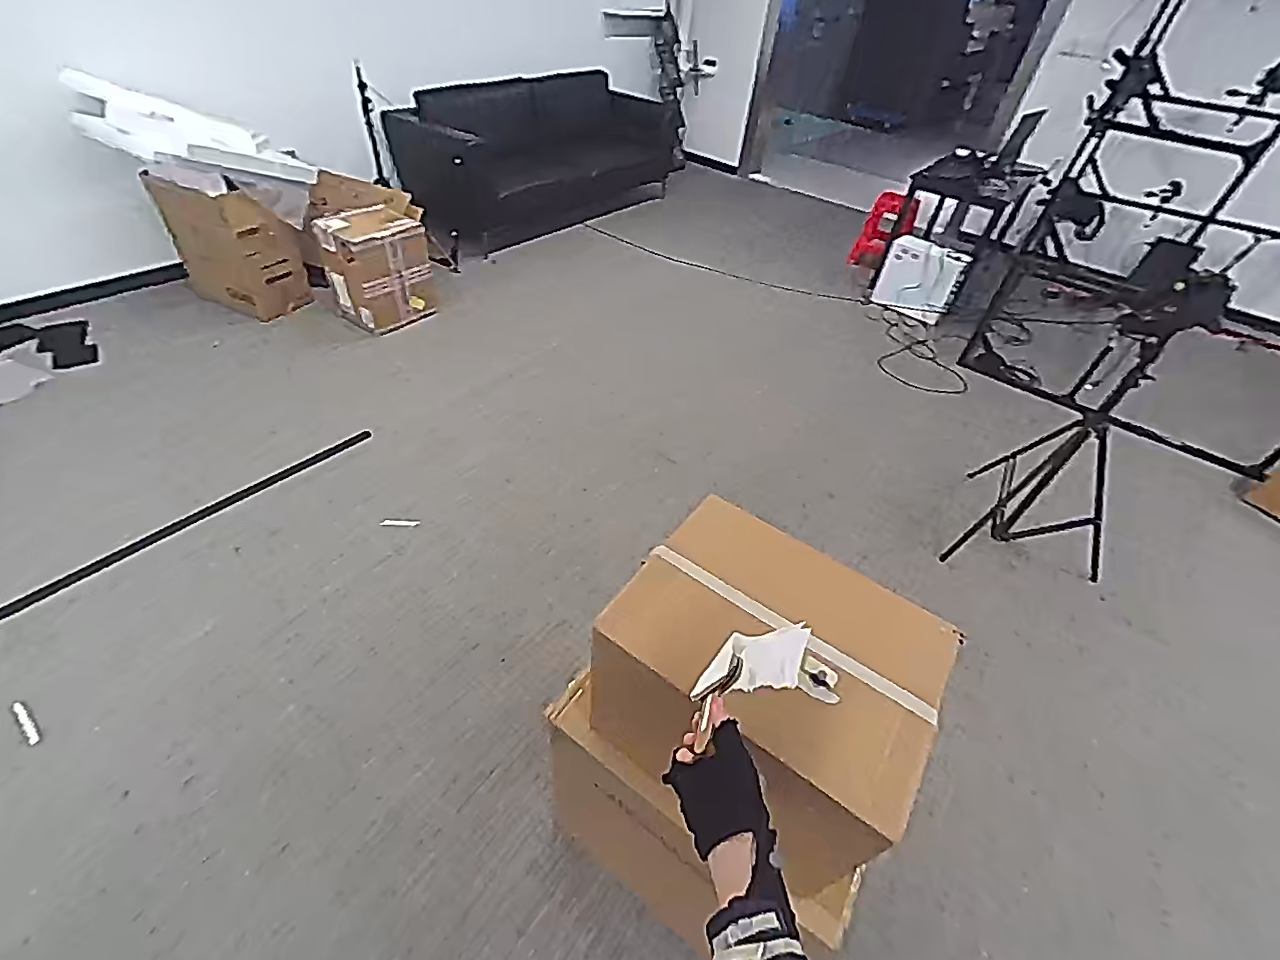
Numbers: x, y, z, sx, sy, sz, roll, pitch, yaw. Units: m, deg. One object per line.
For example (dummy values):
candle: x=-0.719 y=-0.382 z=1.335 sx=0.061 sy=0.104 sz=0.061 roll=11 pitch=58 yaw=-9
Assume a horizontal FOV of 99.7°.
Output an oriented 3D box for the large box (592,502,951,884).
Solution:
large box: x=0.177 y=0.309 z=0.838 sx=0.408 sy=0.320 sz=0.320 roll=30 pitch=48 yaw=21
